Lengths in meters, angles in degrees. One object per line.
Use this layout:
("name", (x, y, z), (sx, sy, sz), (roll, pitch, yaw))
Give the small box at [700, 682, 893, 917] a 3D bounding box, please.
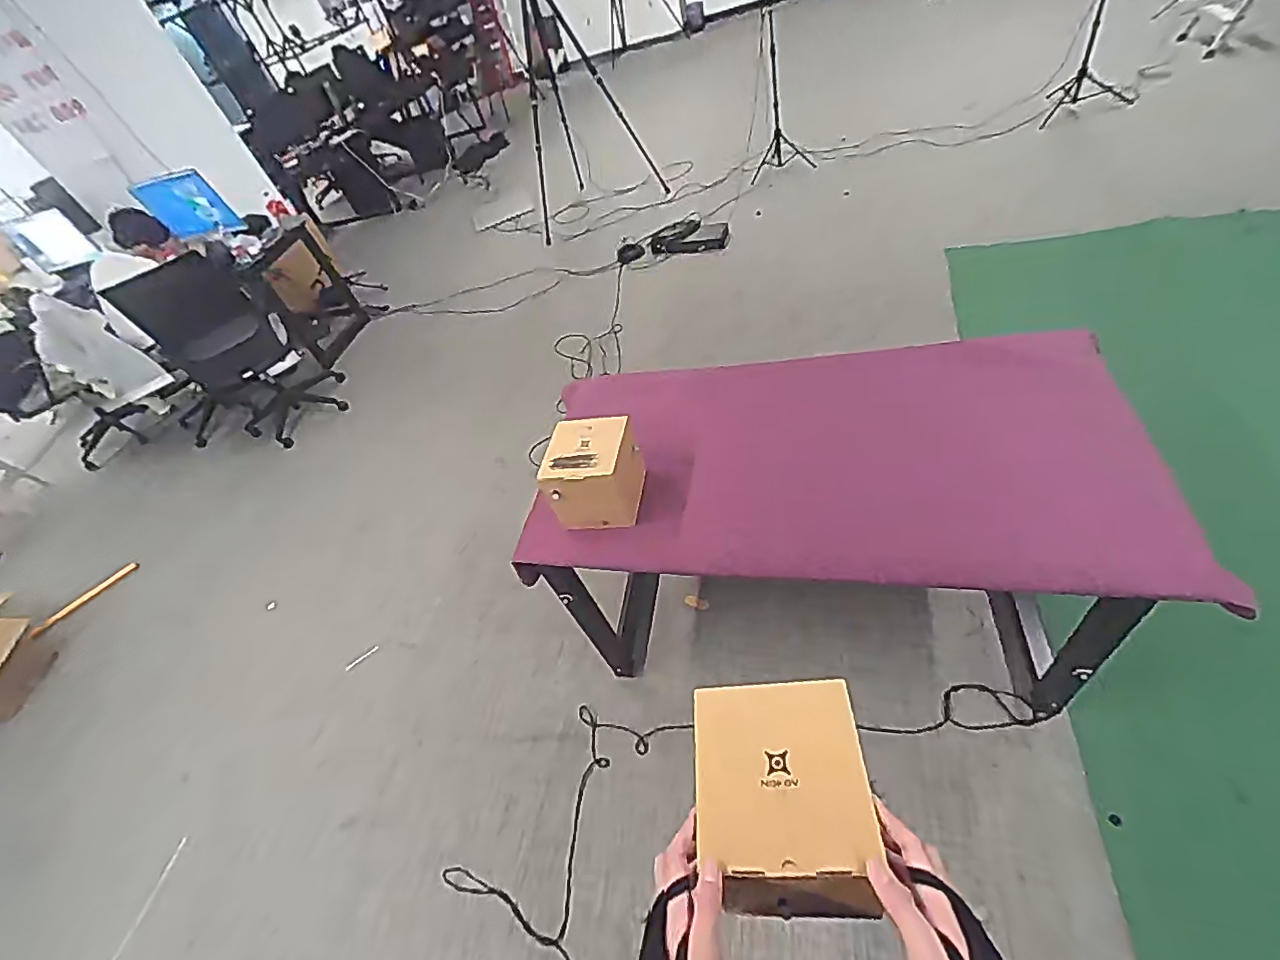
("small box", (0.157, 0.342, 0.583), (0.168, 0.176, 0.179), (-8, 43, 12))
